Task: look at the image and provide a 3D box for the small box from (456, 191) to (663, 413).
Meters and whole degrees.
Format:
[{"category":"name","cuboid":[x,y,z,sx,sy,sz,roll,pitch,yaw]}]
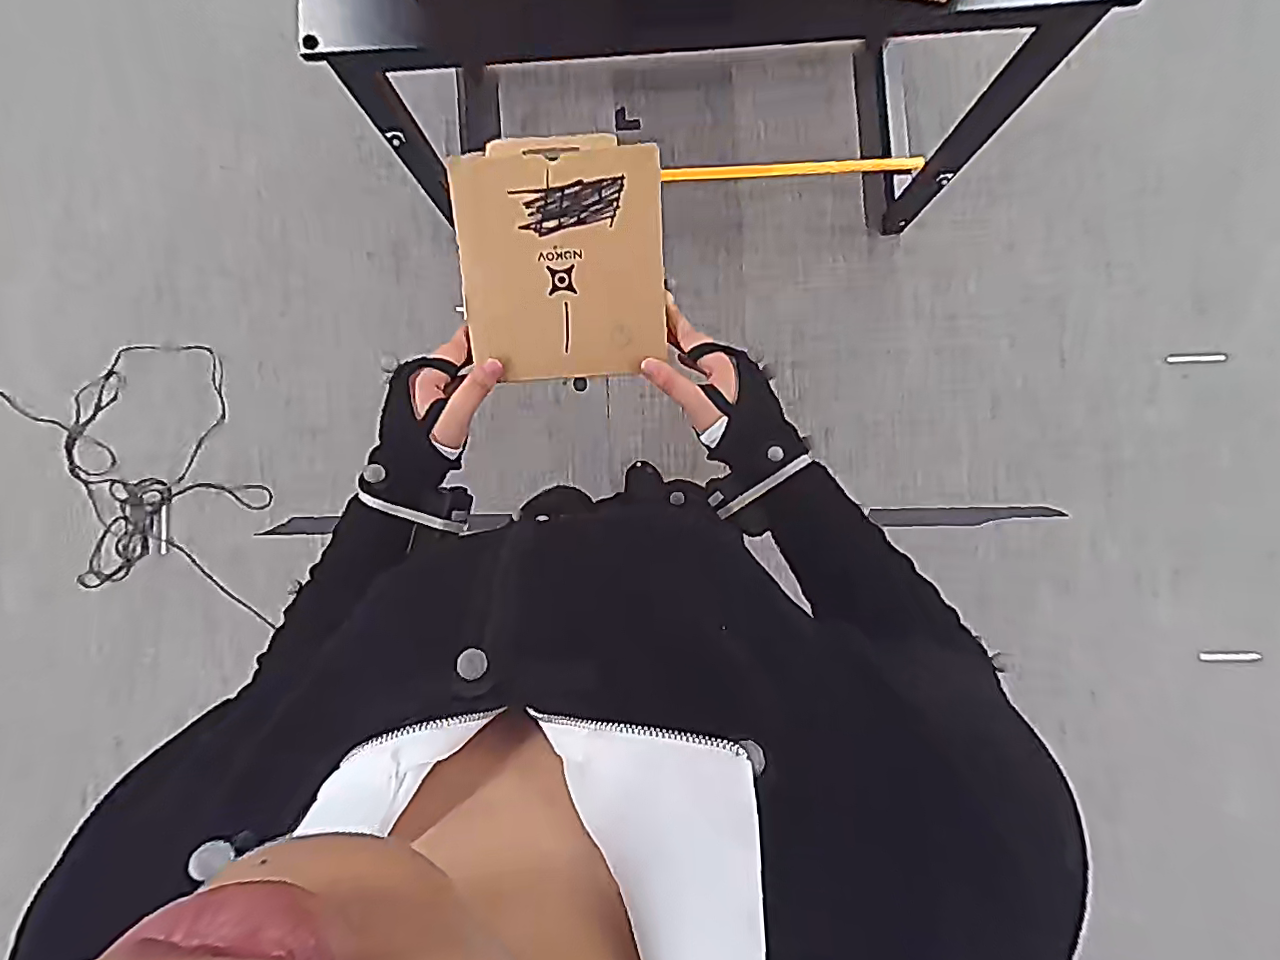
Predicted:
[{"category":"small box","cuboid":[-0.067,-0.163,0.531,0.168,0.176,0.179,-3,103,0]}]
